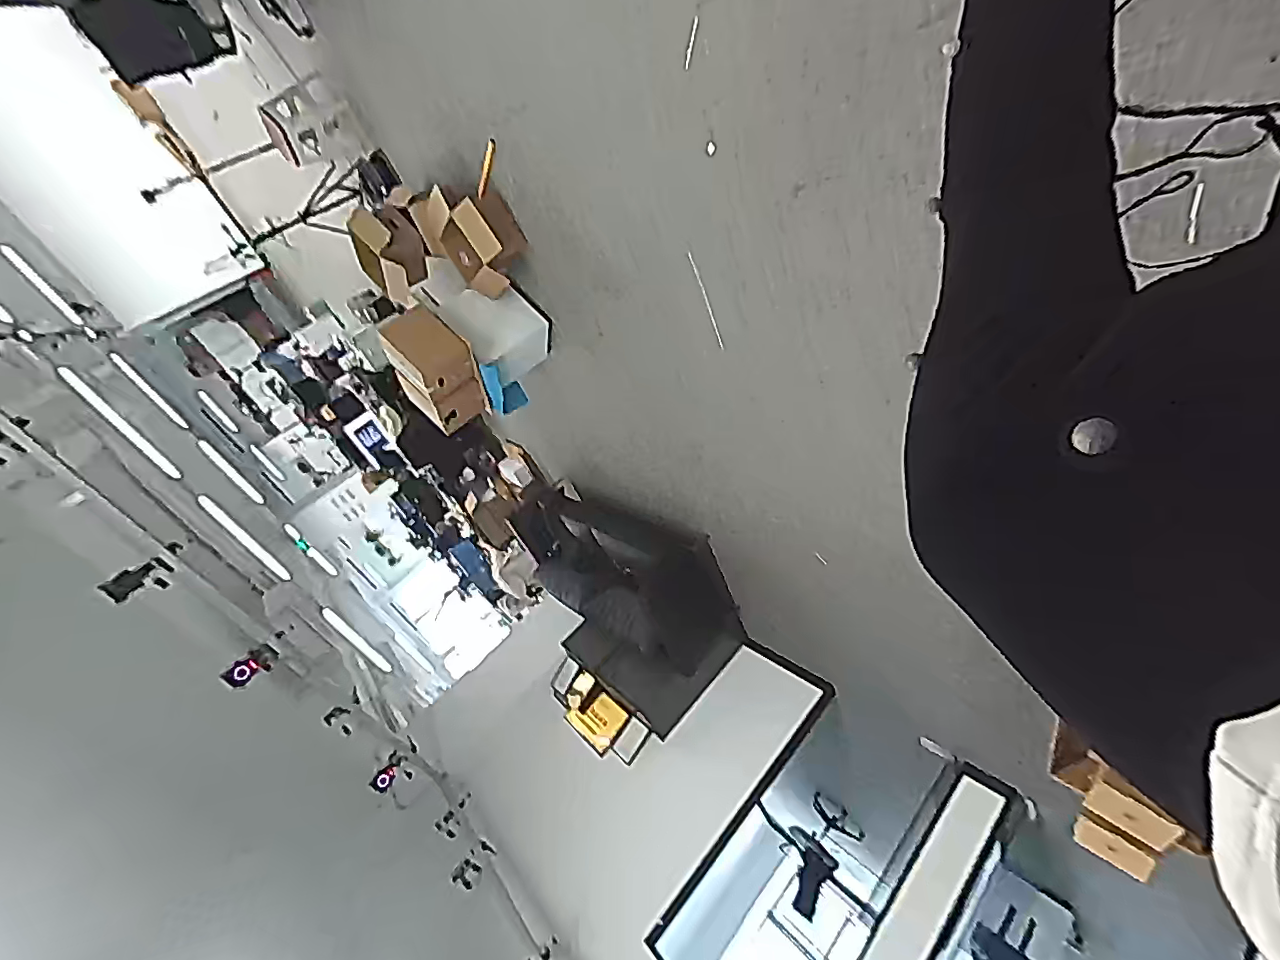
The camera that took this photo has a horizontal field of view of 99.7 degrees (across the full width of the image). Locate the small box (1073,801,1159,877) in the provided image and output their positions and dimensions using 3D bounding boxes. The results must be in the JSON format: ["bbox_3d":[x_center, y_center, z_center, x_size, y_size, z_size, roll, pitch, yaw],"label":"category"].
[{"bbox_3d":[1.371,0.965,1.538,0.168,0.176,0.179,21,143,47],"label":"small box"}]

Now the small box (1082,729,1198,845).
[{"bbox_3d":[1.287,0.784,1.393,0.168,0.176,0.179,26,149,41],"label":"small box"}]
